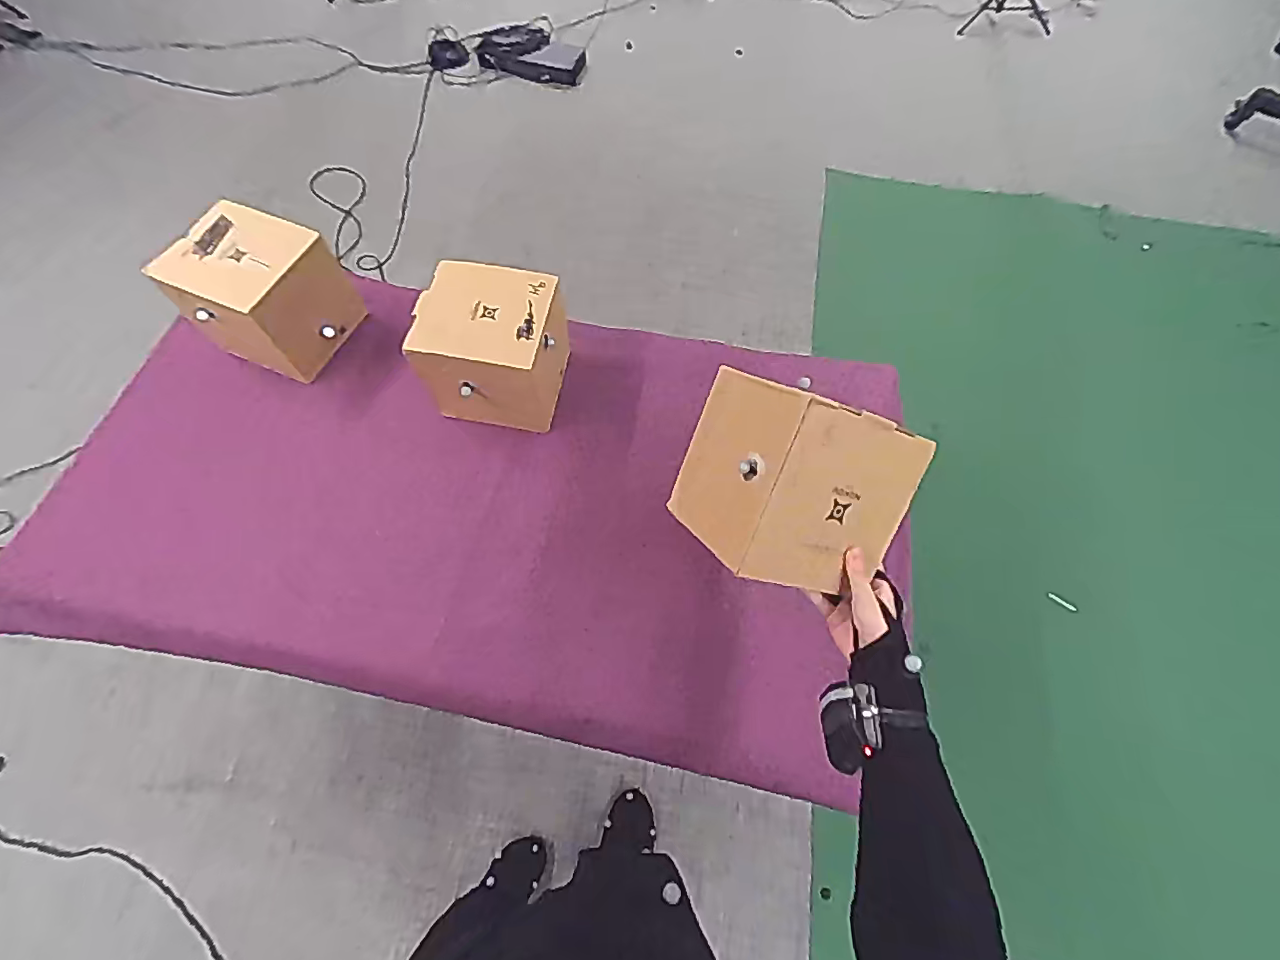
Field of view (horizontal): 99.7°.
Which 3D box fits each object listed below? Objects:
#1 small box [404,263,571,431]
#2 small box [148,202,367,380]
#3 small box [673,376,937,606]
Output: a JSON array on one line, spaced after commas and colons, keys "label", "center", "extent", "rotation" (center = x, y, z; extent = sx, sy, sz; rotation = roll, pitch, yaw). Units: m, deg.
[{"label": "small box", "center": [-0.210, -0.190, 0.802], "extent": [0.179, 0.176, 0.168], "rotation": [9, 66, 3]}, {"label": "small box", "center": [-0.567, -0.281, 0.830], "extent": [0.179, 0.176, 0.168], "rotation": [21, 66, 7]}, {"label": "small box", "center": [0.157, 0.004, 0.567], "extent": [0.168, 0.176, 0.179], "rotation": [15, 104, -27]}]
